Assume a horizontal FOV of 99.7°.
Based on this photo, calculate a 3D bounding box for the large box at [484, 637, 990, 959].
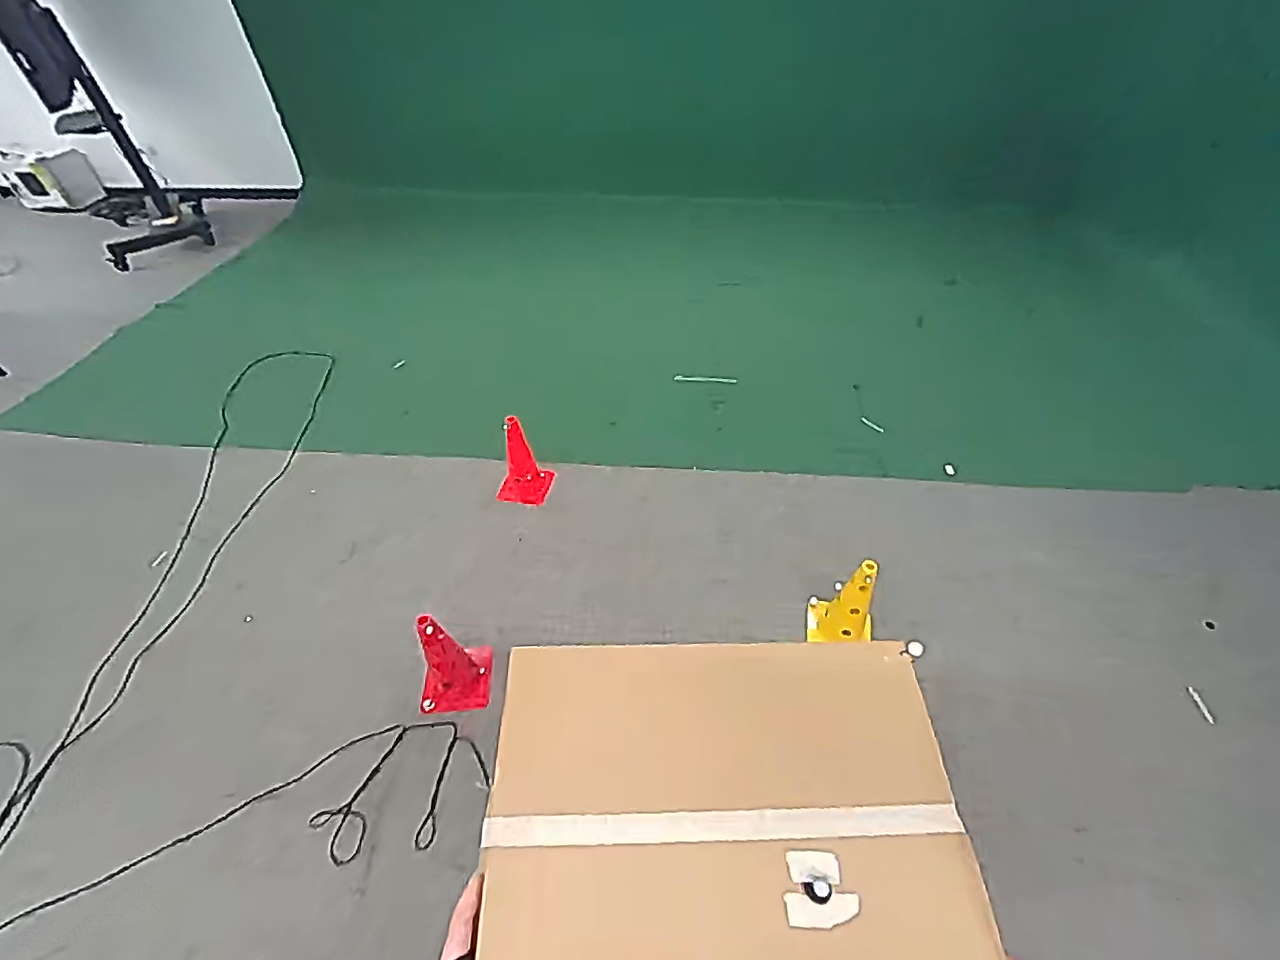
[{"bbox_3d":[0.068,0.382,0.597,0.408,0.320,0.320,0,55,-2],"label":"large box"}]

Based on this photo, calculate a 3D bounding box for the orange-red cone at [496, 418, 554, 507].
[{"bbox_3d":[-0.477,-0.090,2.108,0.199,0.360,0.198,7,45,10],"label":"orange-red cone"}]
